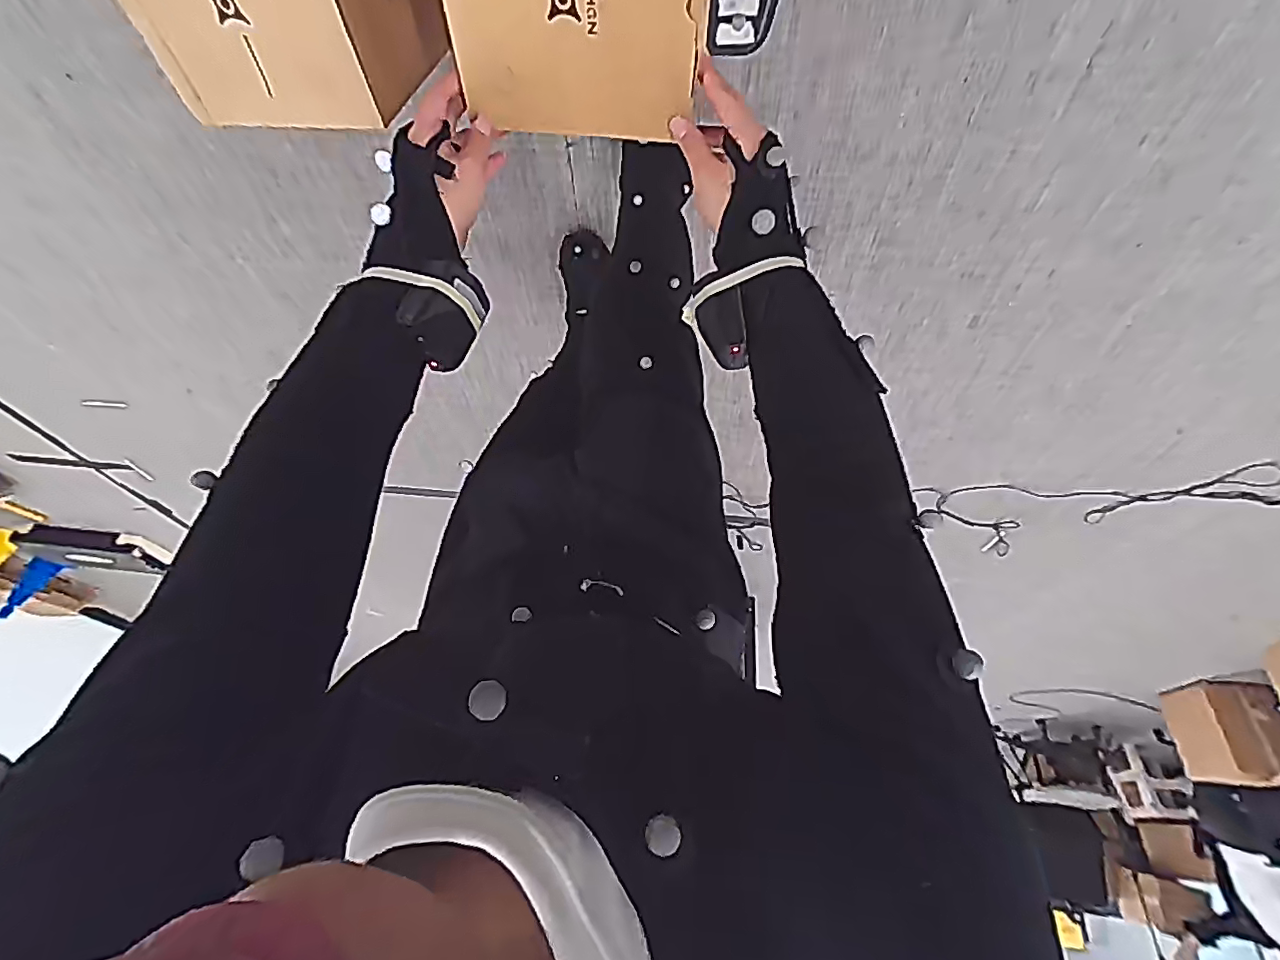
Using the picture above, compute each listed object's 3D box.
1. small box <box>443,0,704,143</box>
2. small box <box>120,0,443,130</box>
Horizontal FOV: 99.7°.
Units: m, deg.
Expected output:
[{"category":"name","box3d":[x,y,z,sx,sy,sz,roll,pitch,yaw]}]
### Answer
[{"category":"small box","box3d":[-0.039,-0.383,0.402,0.179,0.176,0.168,5,146,2]},{"category":"small box","box3d":[-0.276,-0.402,0.414,0.168,0.176,0.179,5,146,4]}]
